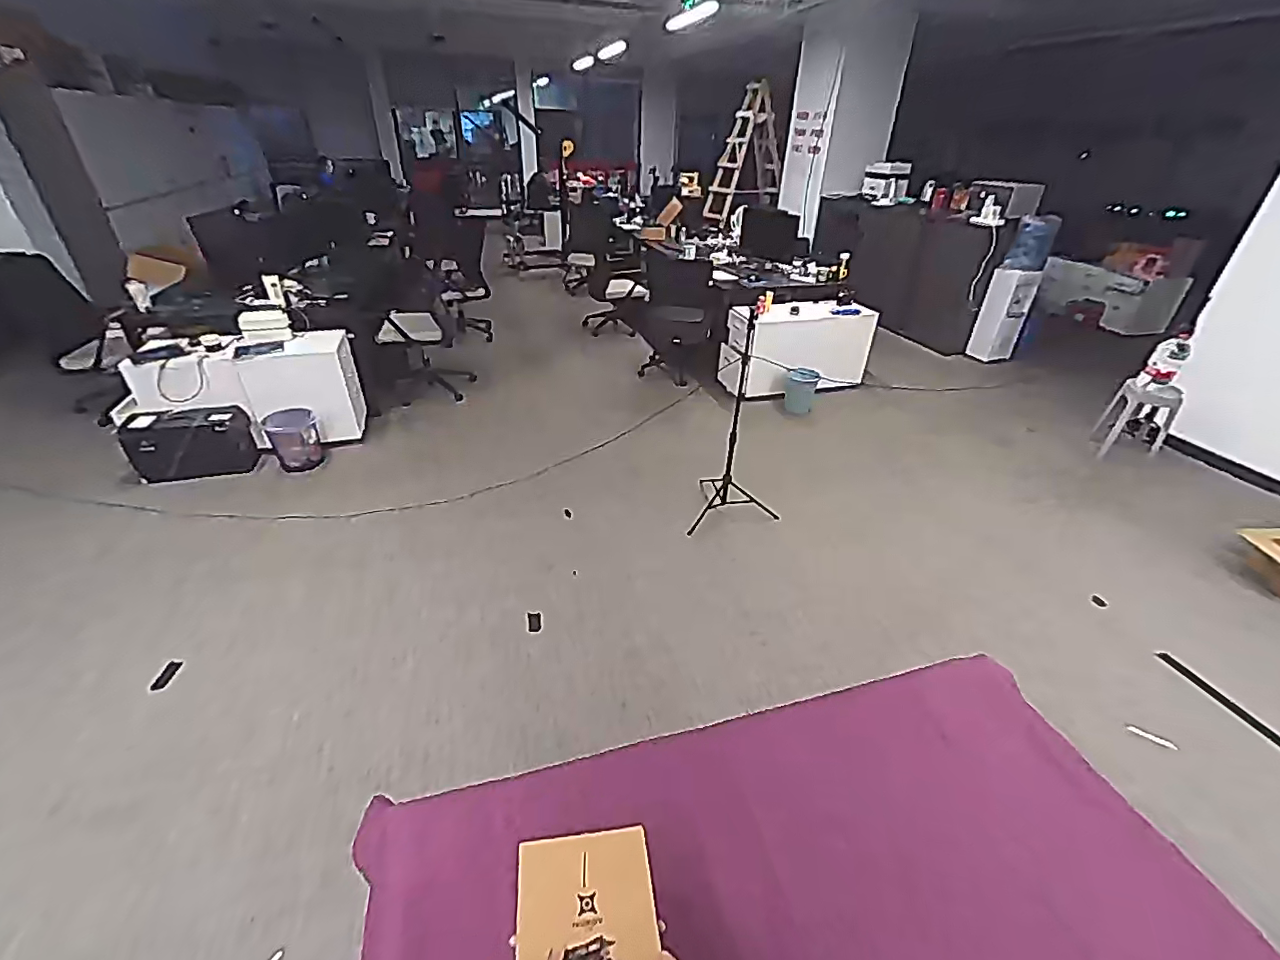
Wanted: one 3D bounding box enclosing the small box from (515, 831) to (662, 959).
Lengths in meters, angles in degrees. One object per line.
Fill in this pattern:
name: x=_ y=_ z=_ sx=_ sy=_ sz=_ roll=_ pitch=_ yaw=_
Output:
small box: x=-0.064 y=0.581 z=0.675 sx=0.168 sy=0.176 sz=0.179 roll=-3 pitch=32 yaw=-8
